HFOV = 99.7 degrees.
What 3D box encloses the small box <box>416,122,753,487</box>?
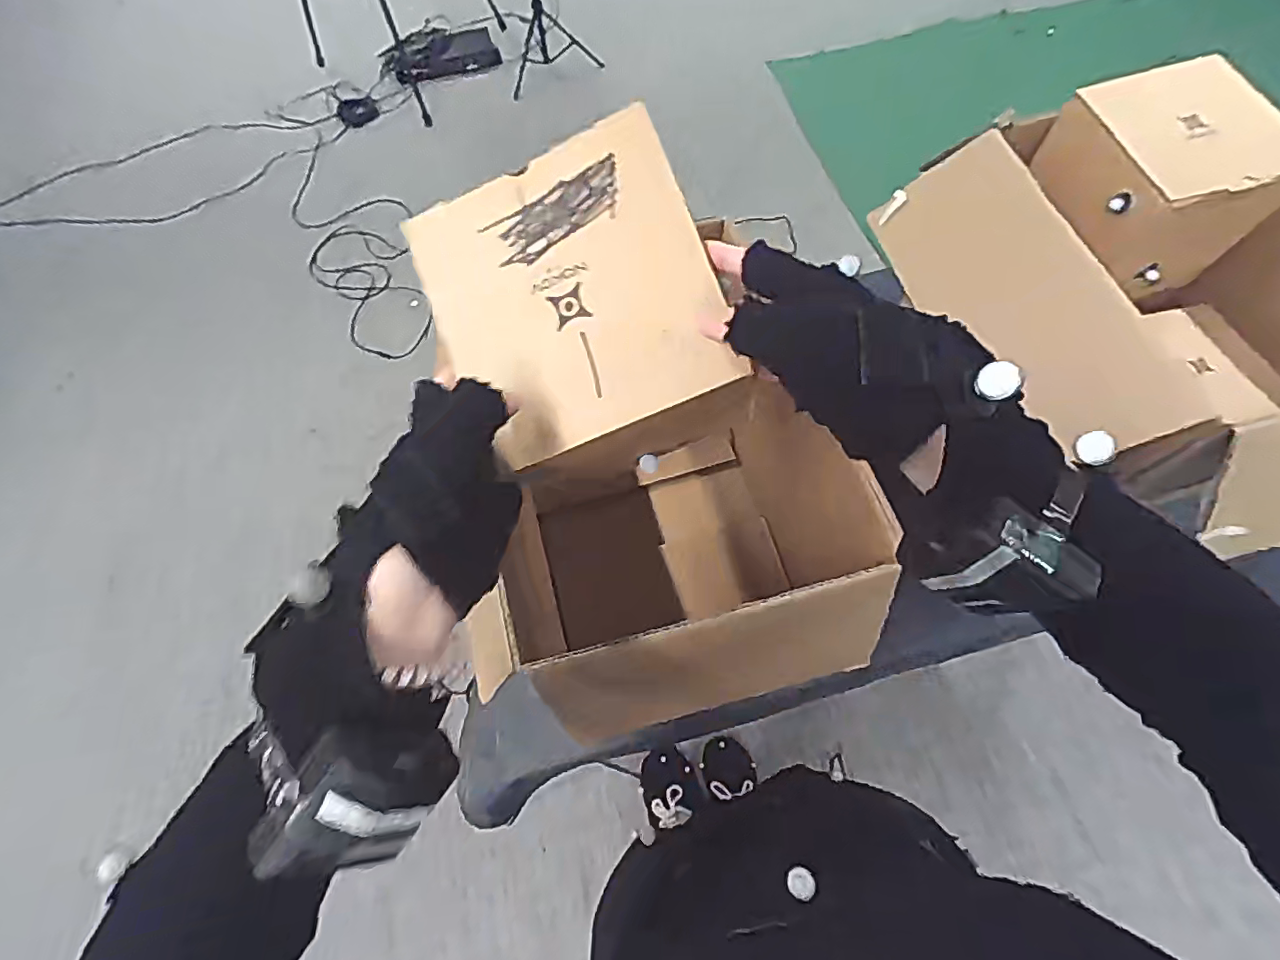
[{"bbox_3d":[-0.026,-0.101,0.399,0.168,0.176,0.179,-20,85,9],"label":"small box"}]
